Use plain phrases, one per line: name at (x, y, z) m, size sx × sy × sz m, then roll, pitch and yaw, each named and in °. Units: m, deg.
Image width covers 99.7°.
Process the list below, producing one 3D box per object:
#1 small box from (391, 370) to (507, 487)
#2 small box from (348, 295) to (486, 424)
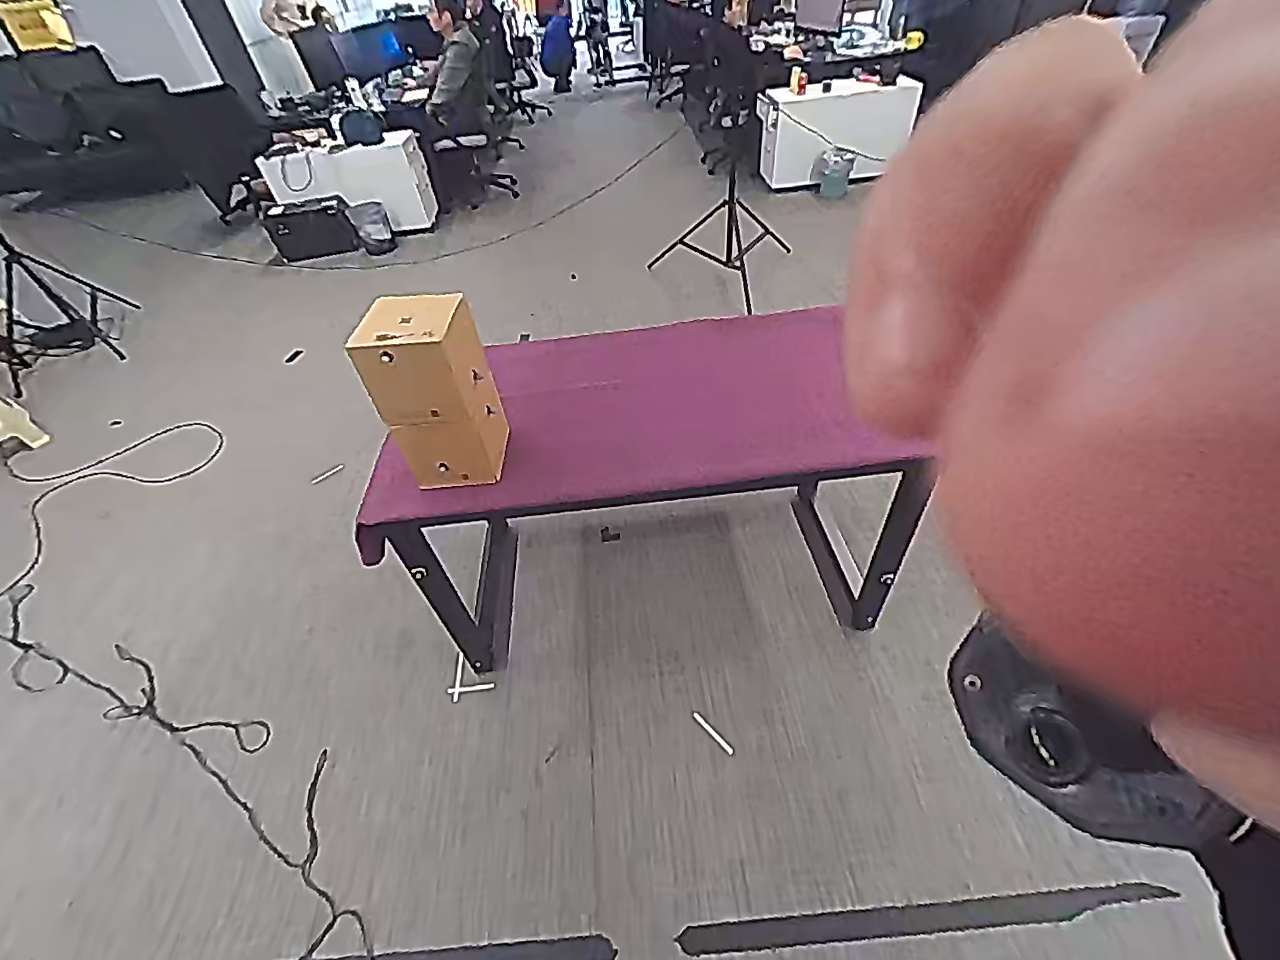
small box at (-0.381, -0.107, 1.117) m, size 0.168 × 0.176 × 0.179 m, roll -5°, pitch 45°, yaw 1°
small box at (-0.397, -0.223, 1.002) m, size 0.168 × 0.176 × 0.179 m, roll -3°, pitch 44°, yaw 3°
